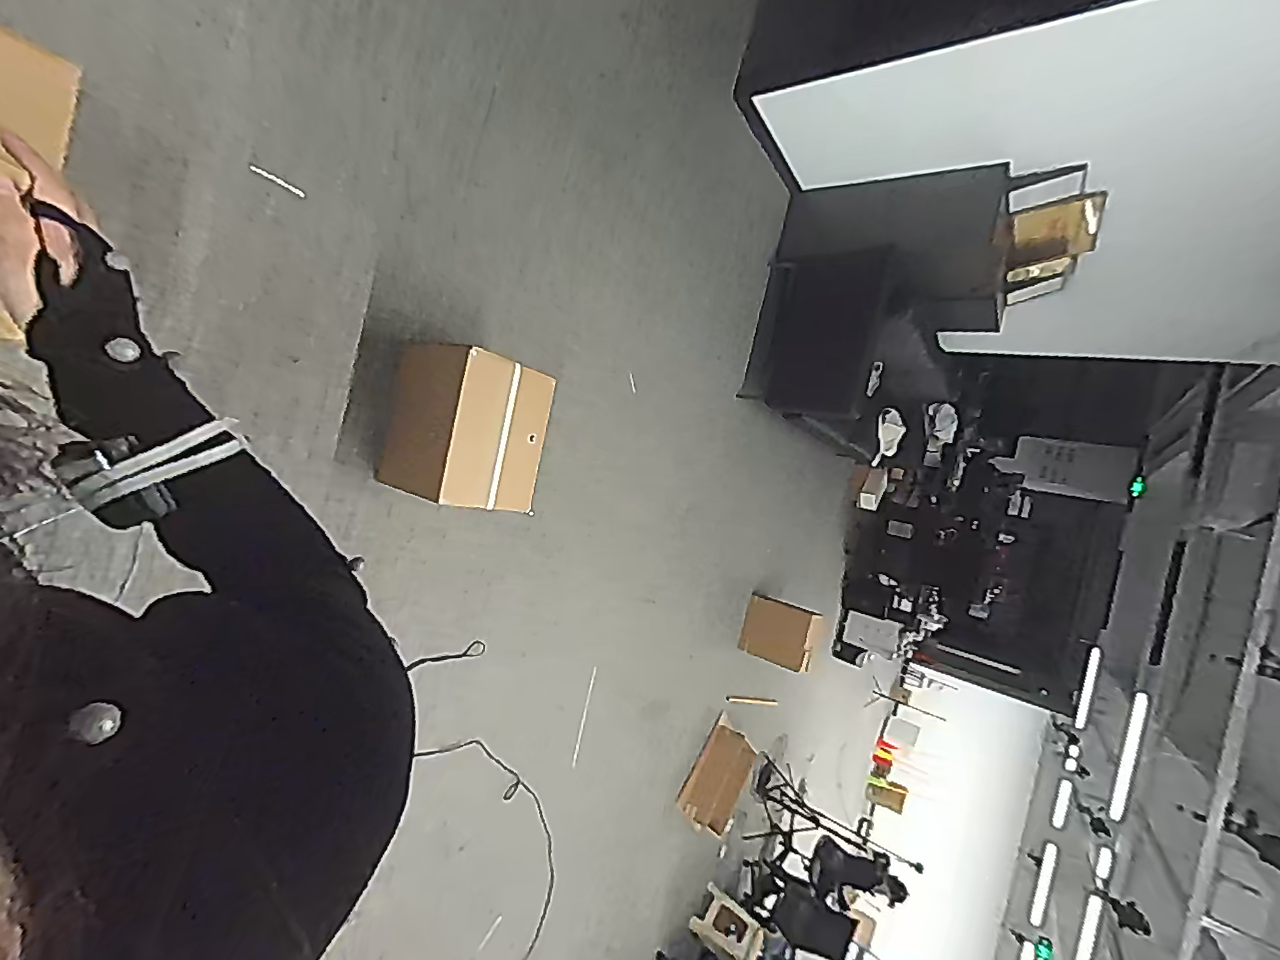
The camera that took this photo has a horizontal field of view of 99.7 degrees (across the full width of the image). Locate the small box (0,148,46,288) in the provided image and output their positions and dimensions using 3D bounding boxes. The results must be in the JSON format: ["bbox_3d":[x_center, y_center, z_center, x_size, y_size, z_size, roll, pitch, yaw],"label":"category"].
[{"bbox_3d":[-0.521,-0.162,0.332,0.168,0.176,0.179,26,85,-49],"label":"small box"}]

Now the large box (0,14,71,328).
[{"bbox_3d":[-1.036,-0.444,0.723,0.320,0.320,0.408,11,91,-55],"label":"large box"}]
